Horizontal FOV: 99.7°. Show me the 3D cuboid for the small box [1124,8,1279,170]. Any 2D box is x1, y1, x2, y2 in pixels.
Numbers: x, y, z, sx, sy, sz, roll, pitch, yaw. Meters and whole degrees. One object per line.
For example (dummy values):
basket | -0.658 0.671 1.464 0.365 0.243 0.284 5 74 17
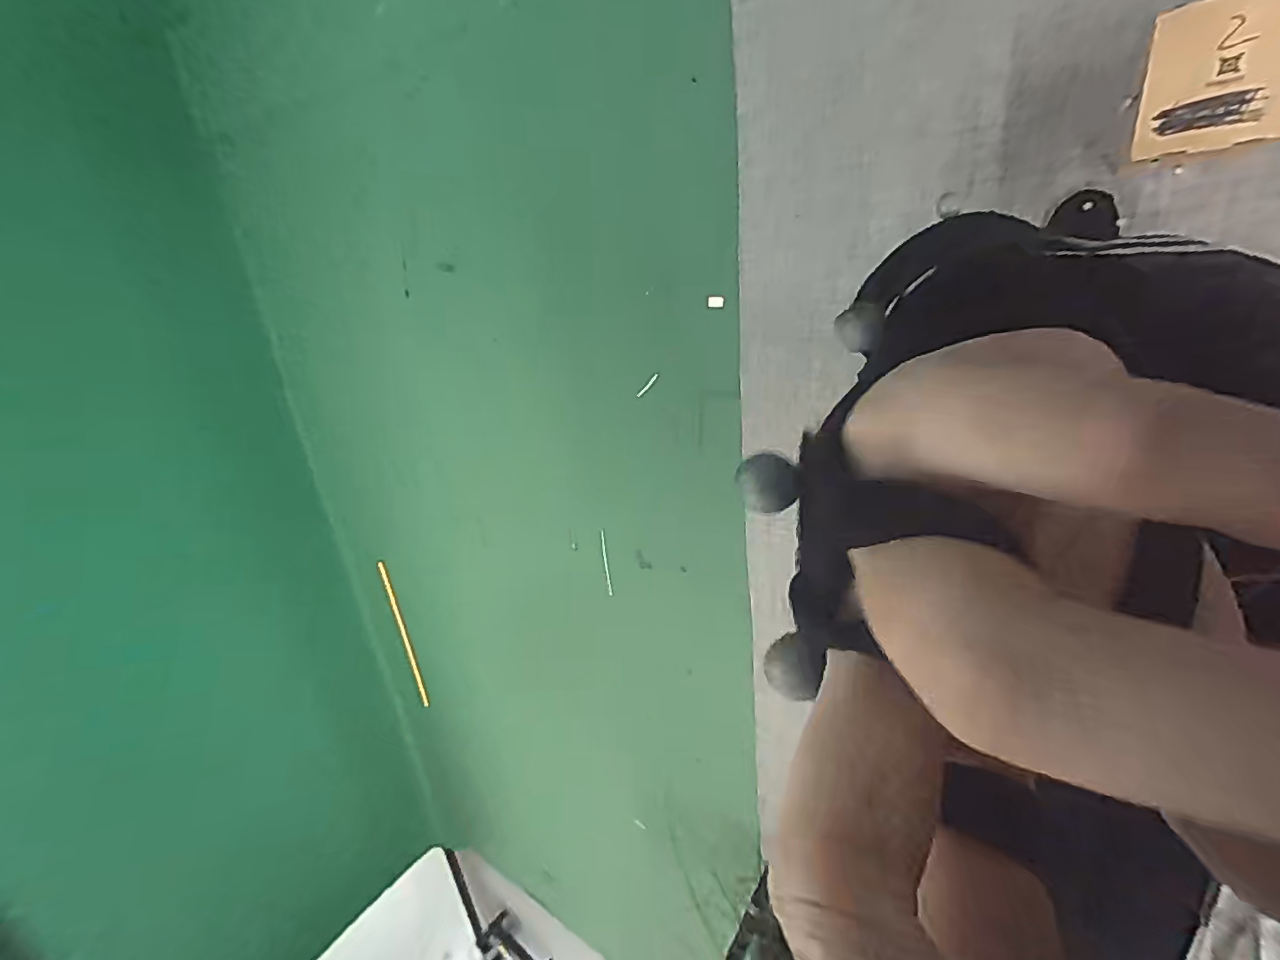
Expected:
small box | 0.919 -0.624 0.884 0.168 0.176 0.179 9 118 35
